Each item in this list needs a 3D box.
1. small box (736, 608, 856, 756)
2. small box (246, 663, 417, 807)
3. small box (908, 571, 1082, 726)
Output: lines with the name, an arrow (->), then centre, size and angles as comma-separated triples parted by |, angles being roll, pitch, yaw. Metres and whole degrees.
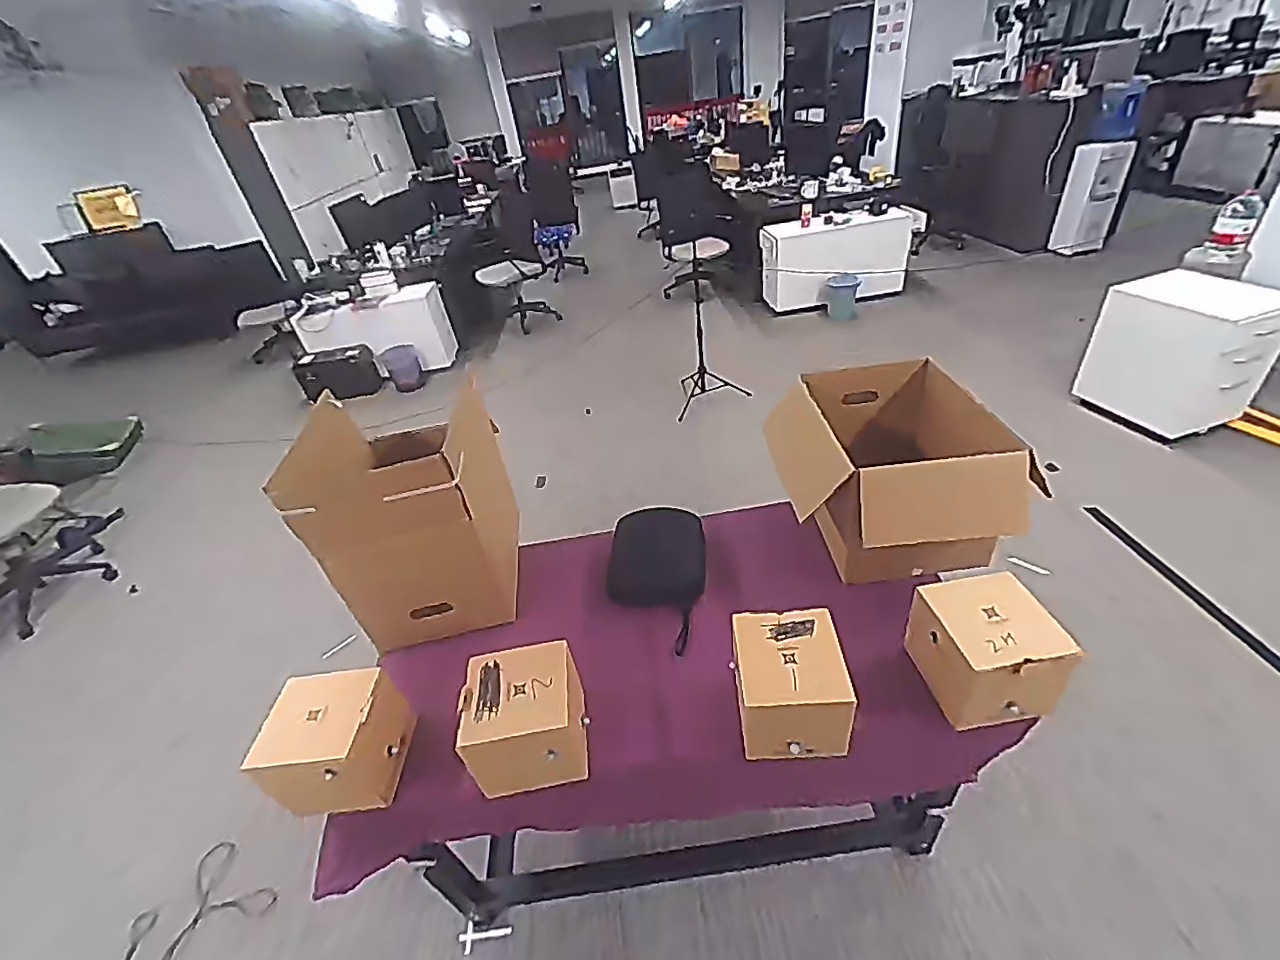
small box -> 0.252, 0.341, 0.917 | 0.168, 0.176, 0.179 | -5, 38, 6
small box -> -0.524, 0.450, 0.950 | 0.179, 0.176, 0.168 | -7, 36, 2
small box -> 0.580, 0.284, 0.915 | 0.168, 0.176, 0.179 | -10, 36, 1
